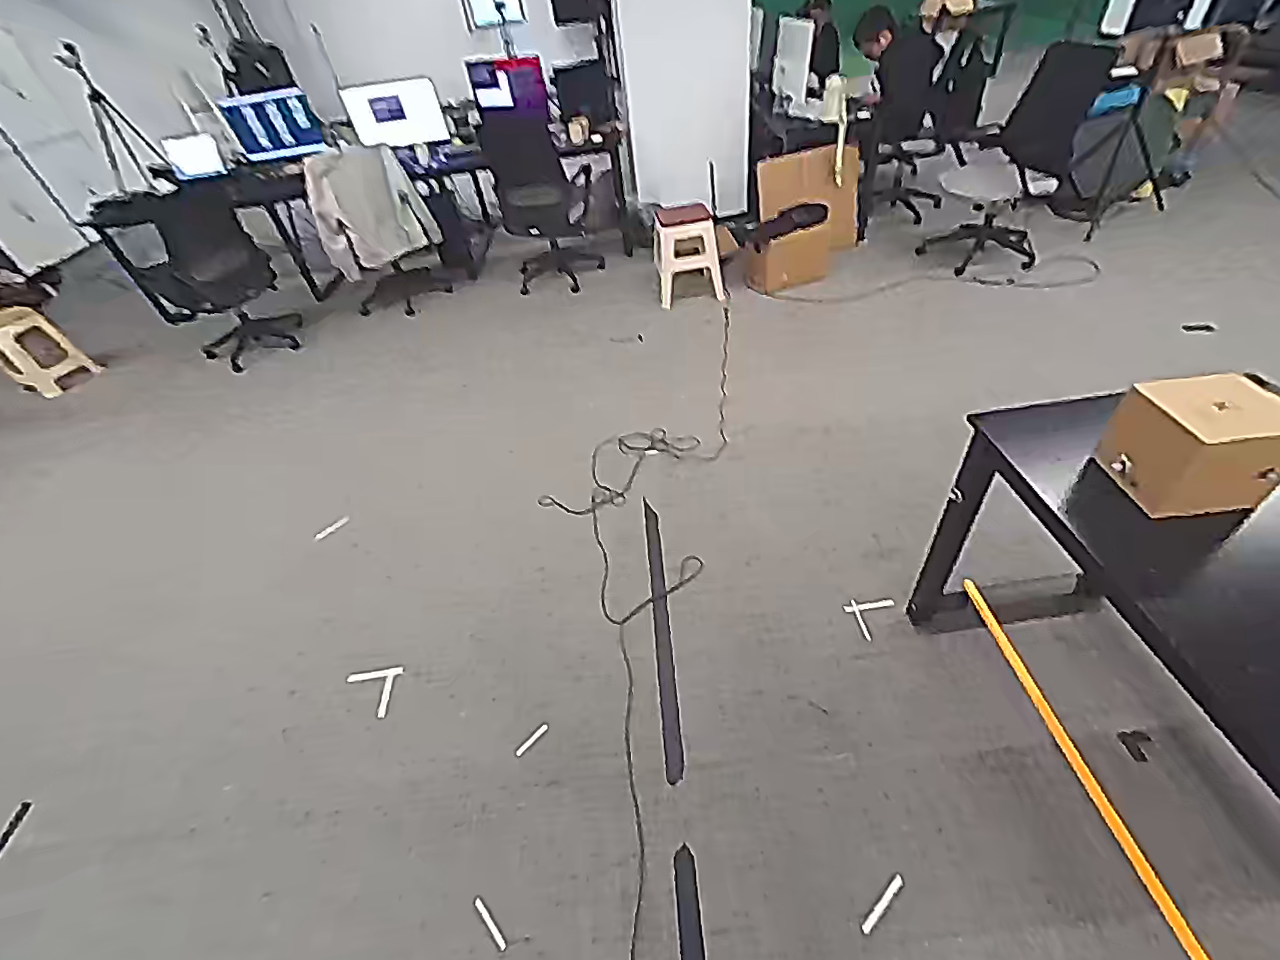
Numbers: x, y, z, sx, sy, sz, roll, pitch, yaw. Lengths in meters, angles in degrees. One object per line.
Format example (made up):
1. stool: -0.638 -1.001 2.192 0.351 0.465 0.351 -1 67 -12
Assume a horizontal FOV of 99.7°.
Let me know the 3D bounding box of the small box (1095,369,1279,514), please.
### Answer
1. small box: 0.935 -0.063 0.909 0.179 0.176 0.168 -7 42 4
